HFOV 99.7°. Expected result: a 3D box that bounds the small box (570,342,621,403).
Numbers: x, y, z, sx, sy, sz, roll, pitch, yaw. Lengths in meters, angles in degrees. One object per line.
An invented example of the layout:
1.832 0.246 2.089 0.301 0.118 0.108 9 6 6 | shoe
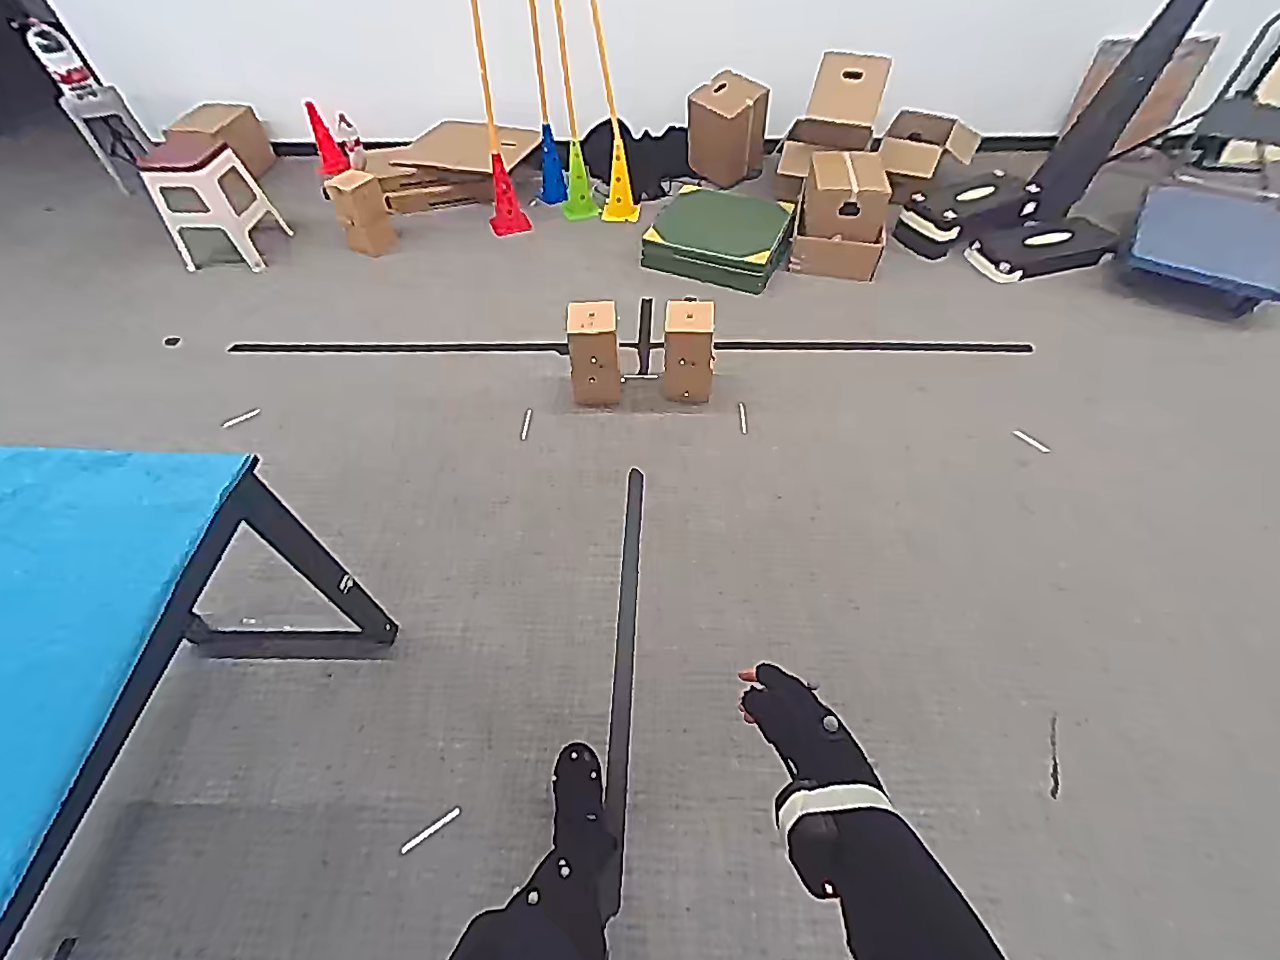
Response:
-0.163 -0.405 2.049 0.179 0.176 0.168 -1 53 -1 | small box

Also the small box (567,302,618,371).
-0.164 -0.509 1.921 0.168 0.176 0.179 -2 53 0 | small box

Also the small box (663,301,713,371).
0.171 -0.512 1.924 0.168 0.176 0.179 3 54 4 | small box

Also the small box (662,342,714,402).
0.181 -0.416 2.055 0.179 0.176 0.168 5 52 3 | small box
